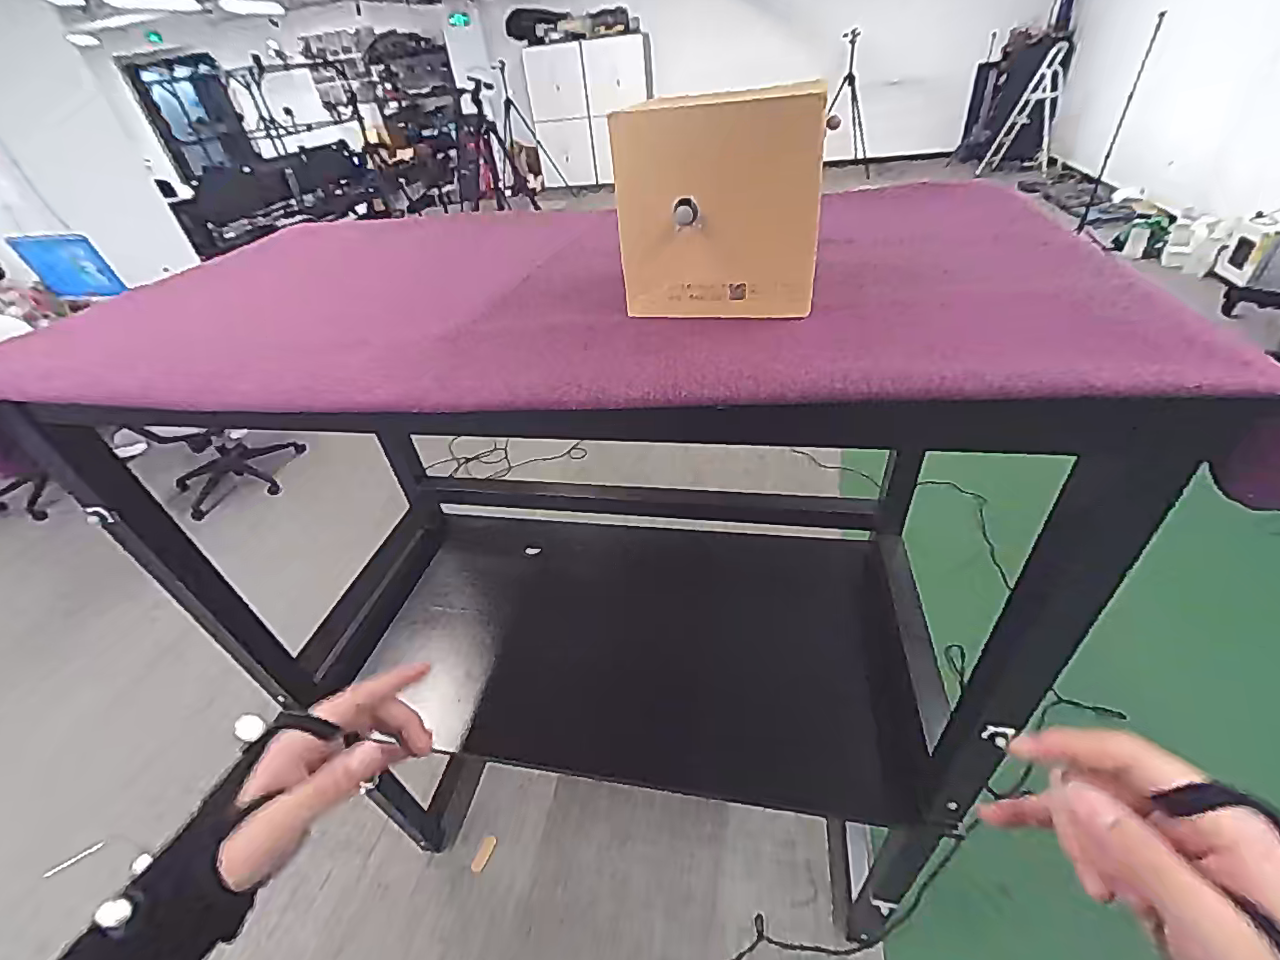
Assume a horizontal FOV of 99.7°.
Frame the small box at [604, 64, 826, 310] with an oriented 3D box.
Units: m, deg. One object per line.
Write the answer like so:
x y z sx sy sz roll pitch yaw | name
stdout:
0.080 -0.267 0.503 0.168 0.176 0.179 5 38 15 | small box
